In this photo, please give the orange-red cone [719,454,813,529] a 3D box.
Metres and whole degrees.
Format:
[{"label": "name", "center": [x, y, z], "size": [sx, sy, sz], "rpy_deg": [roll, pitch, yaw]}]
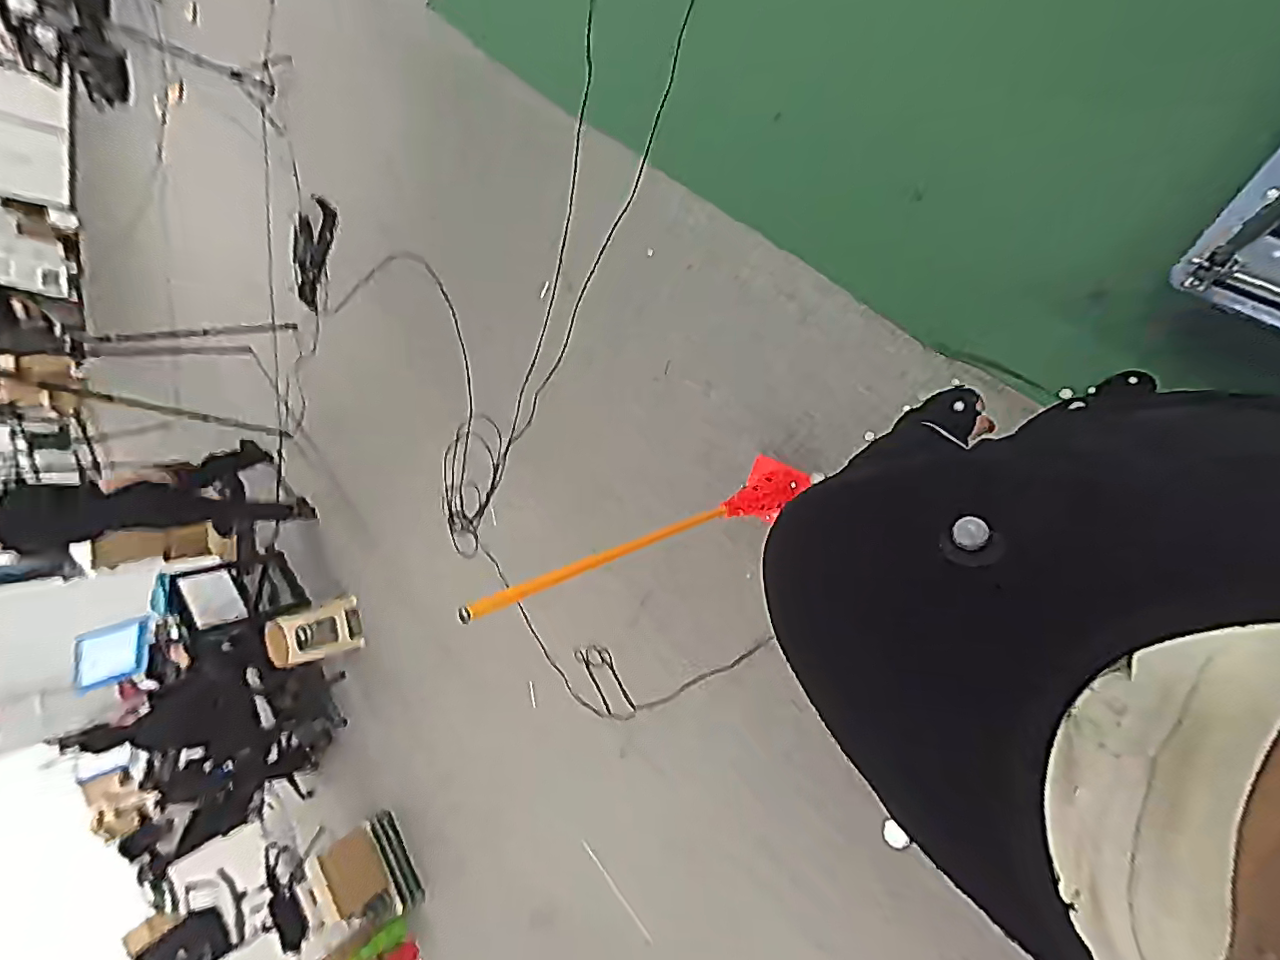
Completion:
[{"label": "orange-red cone", "center": [0.335, 0.055, 1.606], "size": [0.199, 0.360, 0.198], "rpy_deg": [31, 114, 31]}]
